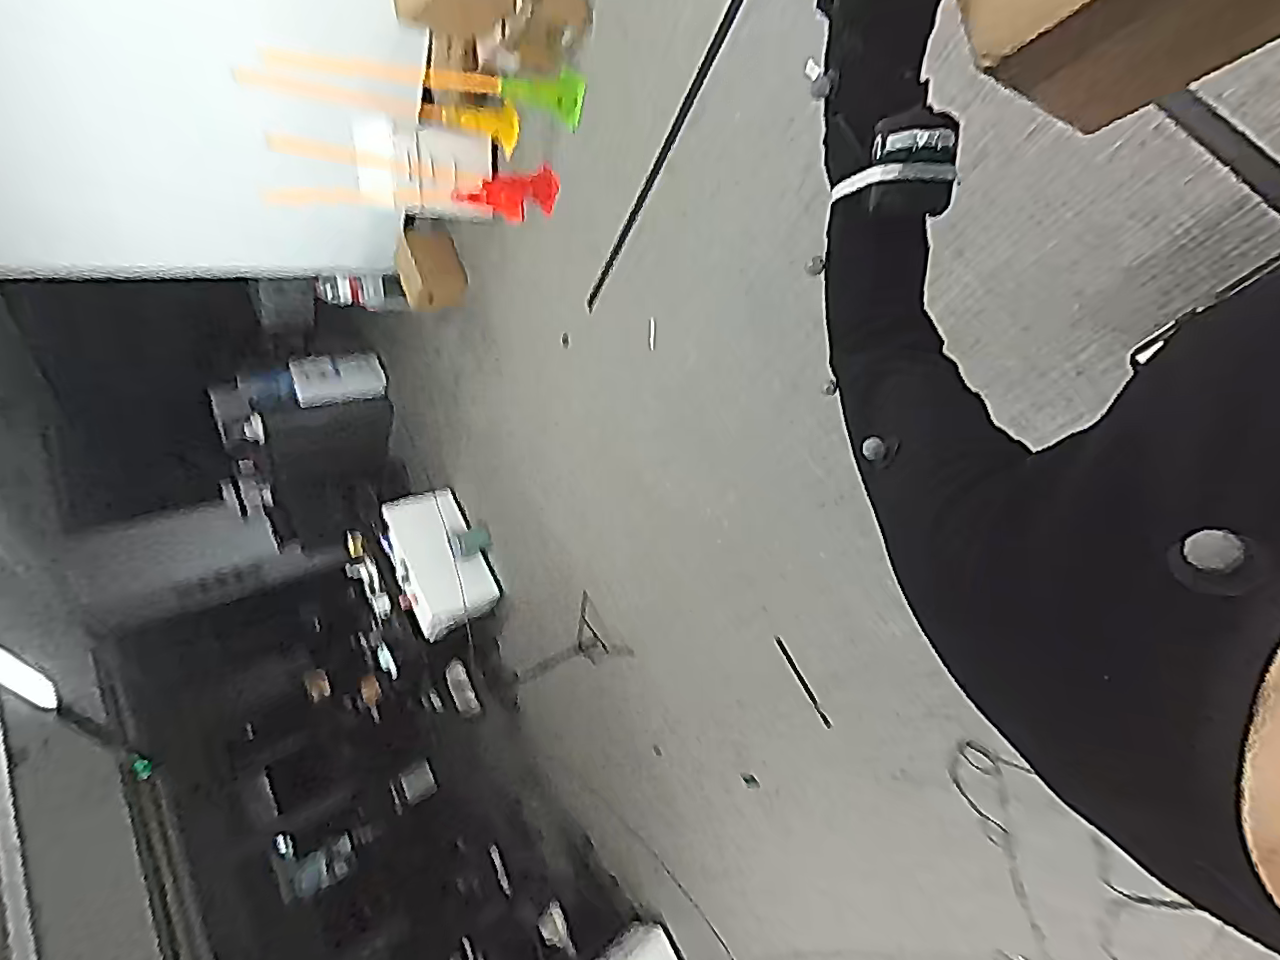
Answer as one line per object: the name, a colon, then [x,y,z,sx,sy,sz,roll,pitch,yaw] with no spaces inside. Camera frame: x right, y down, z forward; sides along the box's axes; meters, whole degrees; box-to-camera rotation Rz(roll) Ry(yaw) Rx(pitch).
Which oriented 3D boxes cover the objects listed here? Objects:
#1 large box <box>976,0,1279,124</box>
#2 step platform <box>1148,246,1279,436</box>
large box: [0.430,-0.504,0.310,0.408,0.320,0.320,-13,94,51]
step platform: [1.297,-0.373,0.891,0.286,0.204,0.684,57,138,18]
